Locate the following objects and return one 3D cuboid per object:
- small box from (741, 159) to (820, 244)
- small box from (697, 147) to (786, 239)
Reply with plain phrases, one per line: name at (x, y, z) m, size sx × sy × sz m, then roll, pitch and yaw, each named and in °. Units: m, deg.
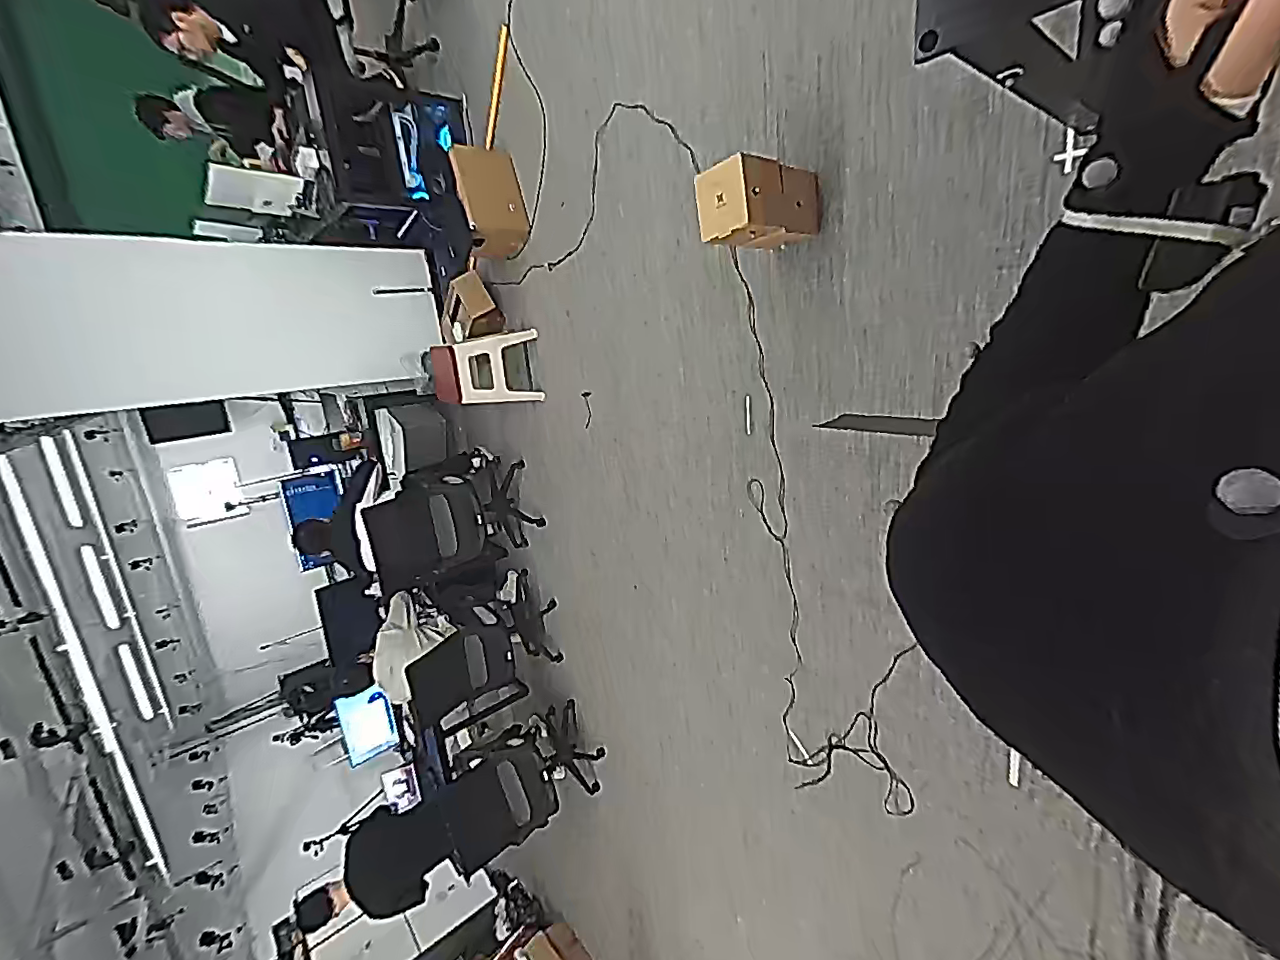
small box at (0.404, -0.797, 1.566) m, size 0.168 × 0.176 × 0.179 m, roll 8°, pitch 110°, yaw 50°
small box at (0.279, -0.766, 1.467) m, size 0.168 × 0.176 × 0.179 m, roll 3°, pitch 104°, yaw 50°
